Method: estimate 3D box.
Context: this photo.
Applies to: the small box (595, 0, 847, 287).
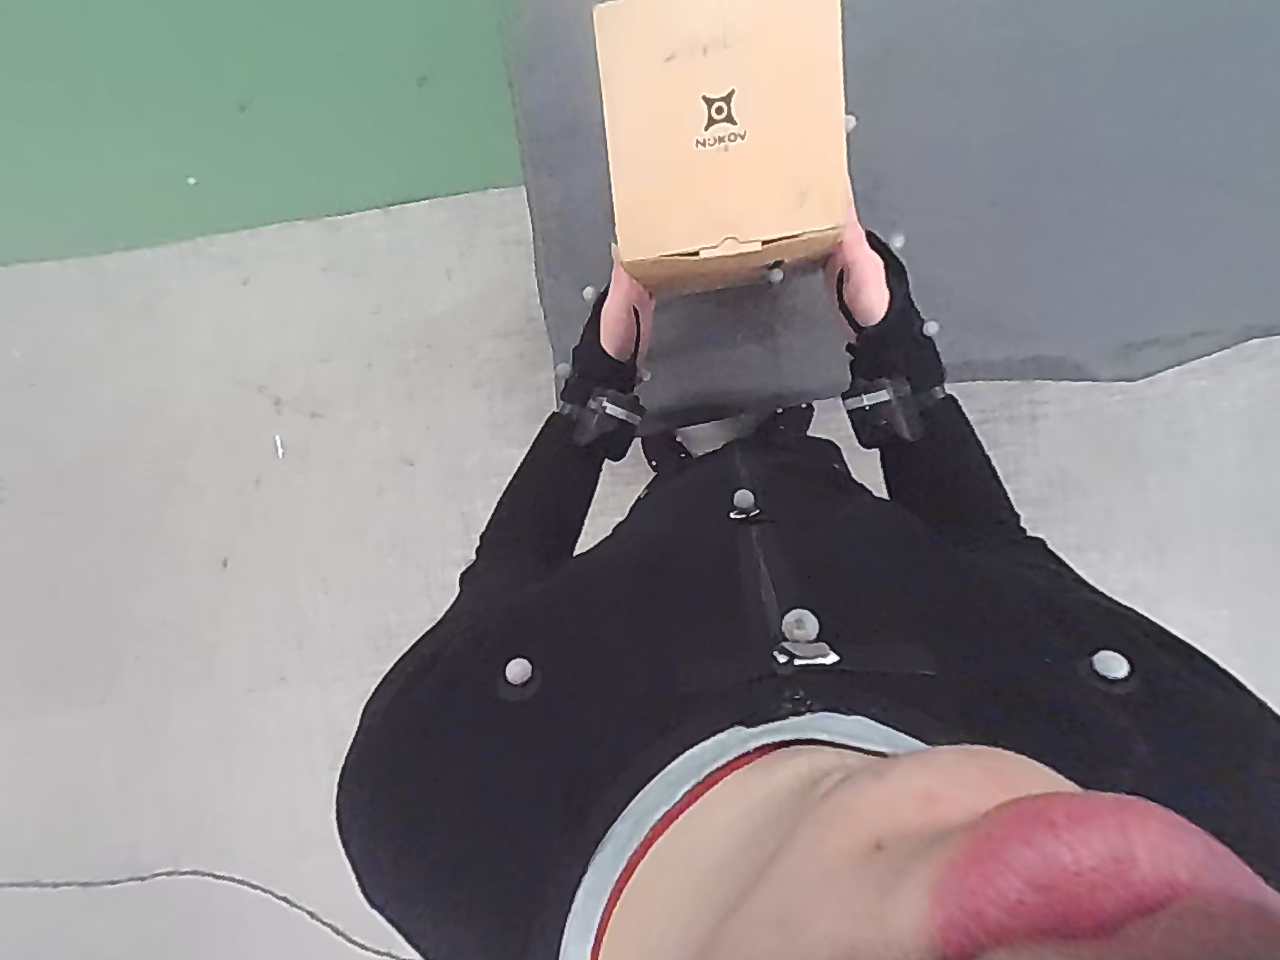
[{"bbox_3d":[0.070,-0.266,0.449,0.168,0.176,0.179,-4,99,11],"label":"small box"}]
